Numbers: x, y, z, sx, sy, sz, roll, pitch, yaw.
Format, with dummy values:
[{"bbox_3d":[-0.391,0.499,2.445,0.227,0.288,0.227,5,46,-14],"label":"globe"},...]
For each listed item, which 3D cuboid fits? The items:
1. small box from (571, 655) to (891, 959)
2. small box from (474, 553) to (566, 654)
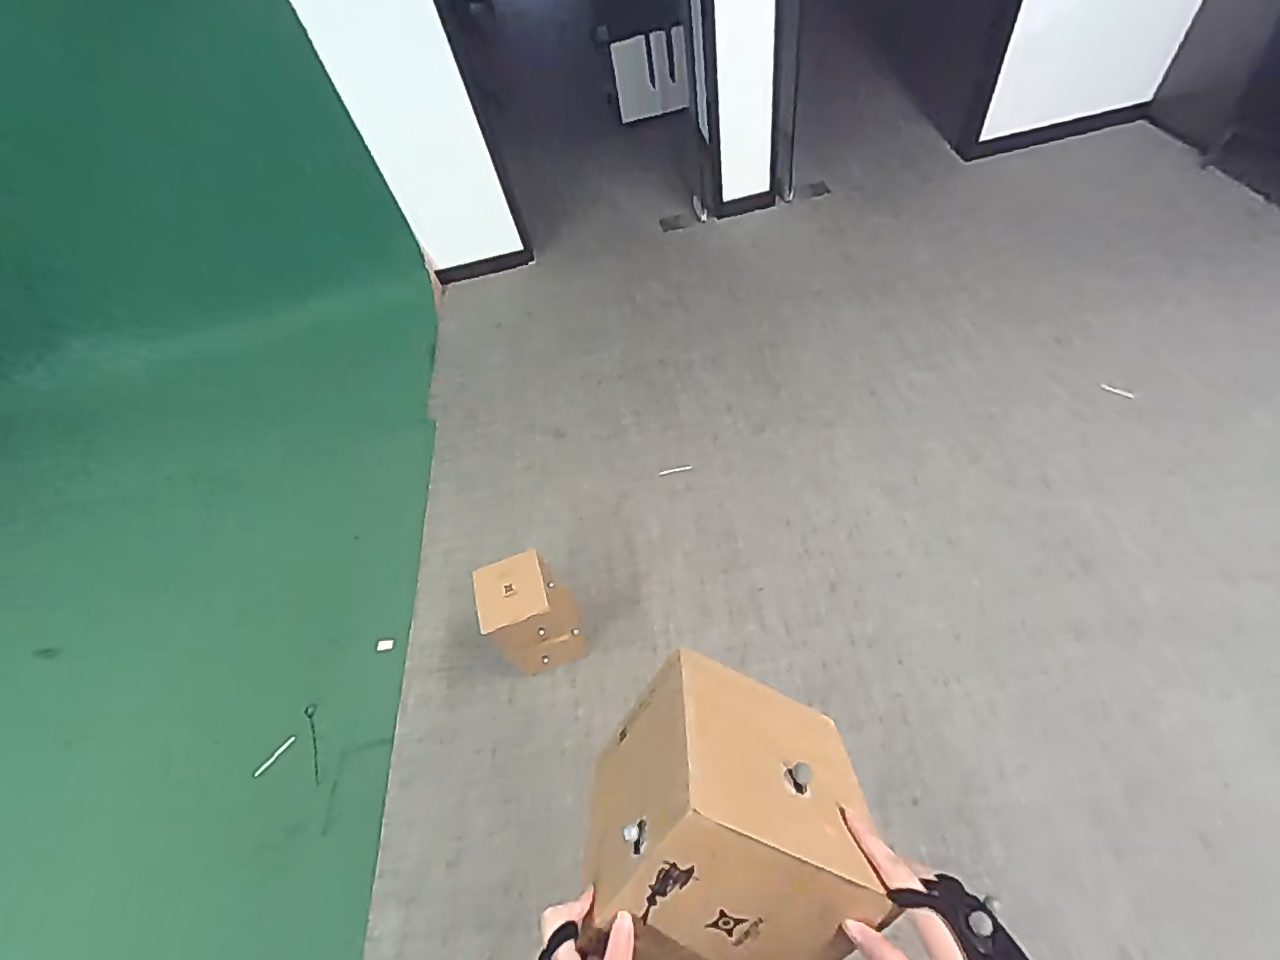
[{"bbox_3d":[0.064,0.284,0.462,0.179,0.168,0.176,28,19,-9],"label":"small box"},{"bbox_3d":[-0.295,0.315,1.348,0.168,0.176,0.179,-19,52,-3],"label":"small box"}]
